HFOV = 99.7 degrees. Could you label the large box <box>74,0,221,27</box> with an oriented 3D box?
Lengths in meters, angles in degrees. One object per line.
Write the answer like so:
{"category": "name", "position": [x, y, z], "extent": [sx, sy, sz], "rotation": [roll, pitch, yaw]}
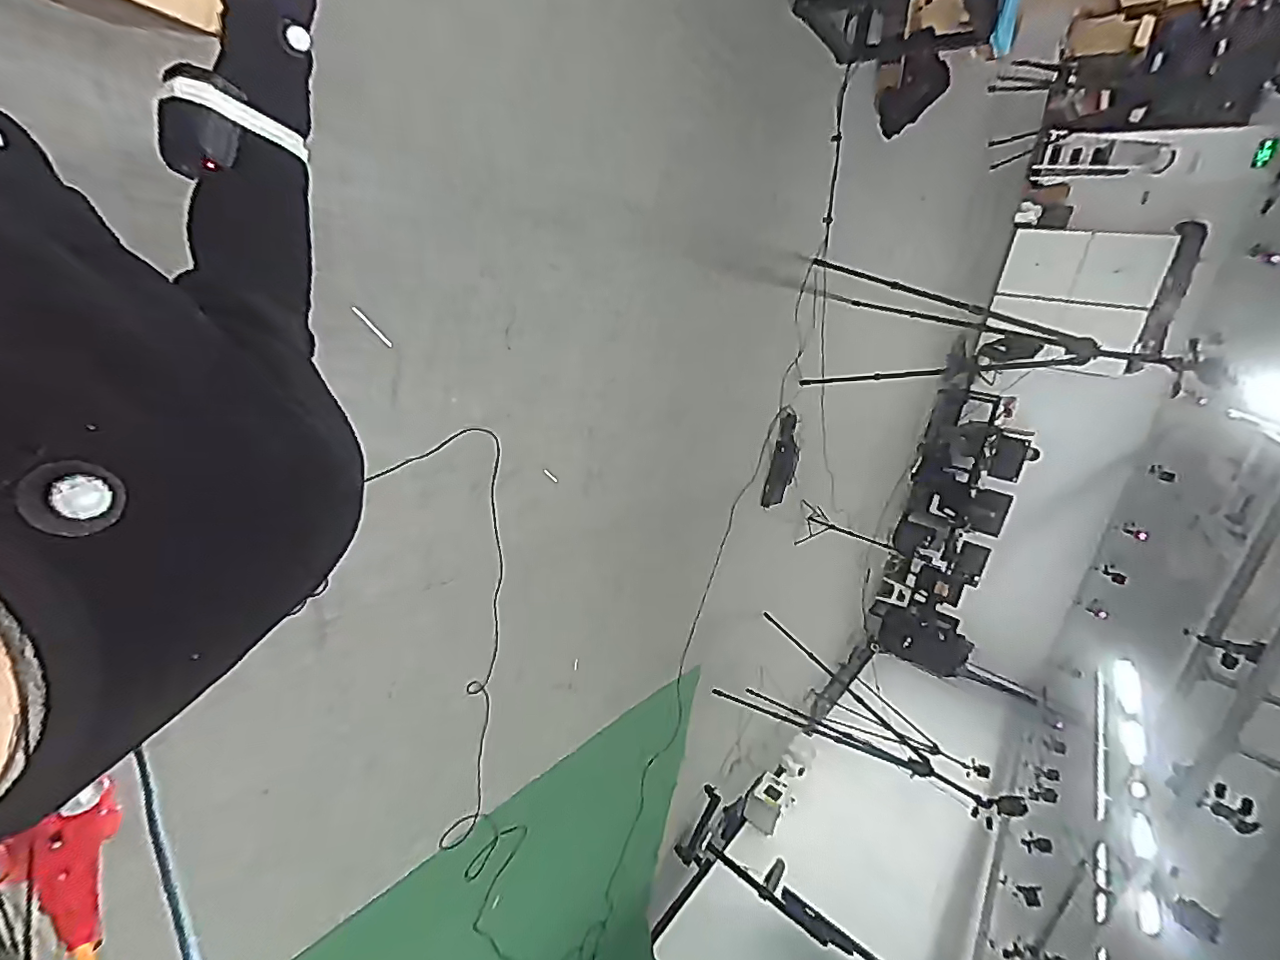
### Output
{"category": "large box", "position": [-0.501, -0.507, 0.268], "extent": [0.408, 0.320, 0.320], "rotation": [-12, 126, -51]}
